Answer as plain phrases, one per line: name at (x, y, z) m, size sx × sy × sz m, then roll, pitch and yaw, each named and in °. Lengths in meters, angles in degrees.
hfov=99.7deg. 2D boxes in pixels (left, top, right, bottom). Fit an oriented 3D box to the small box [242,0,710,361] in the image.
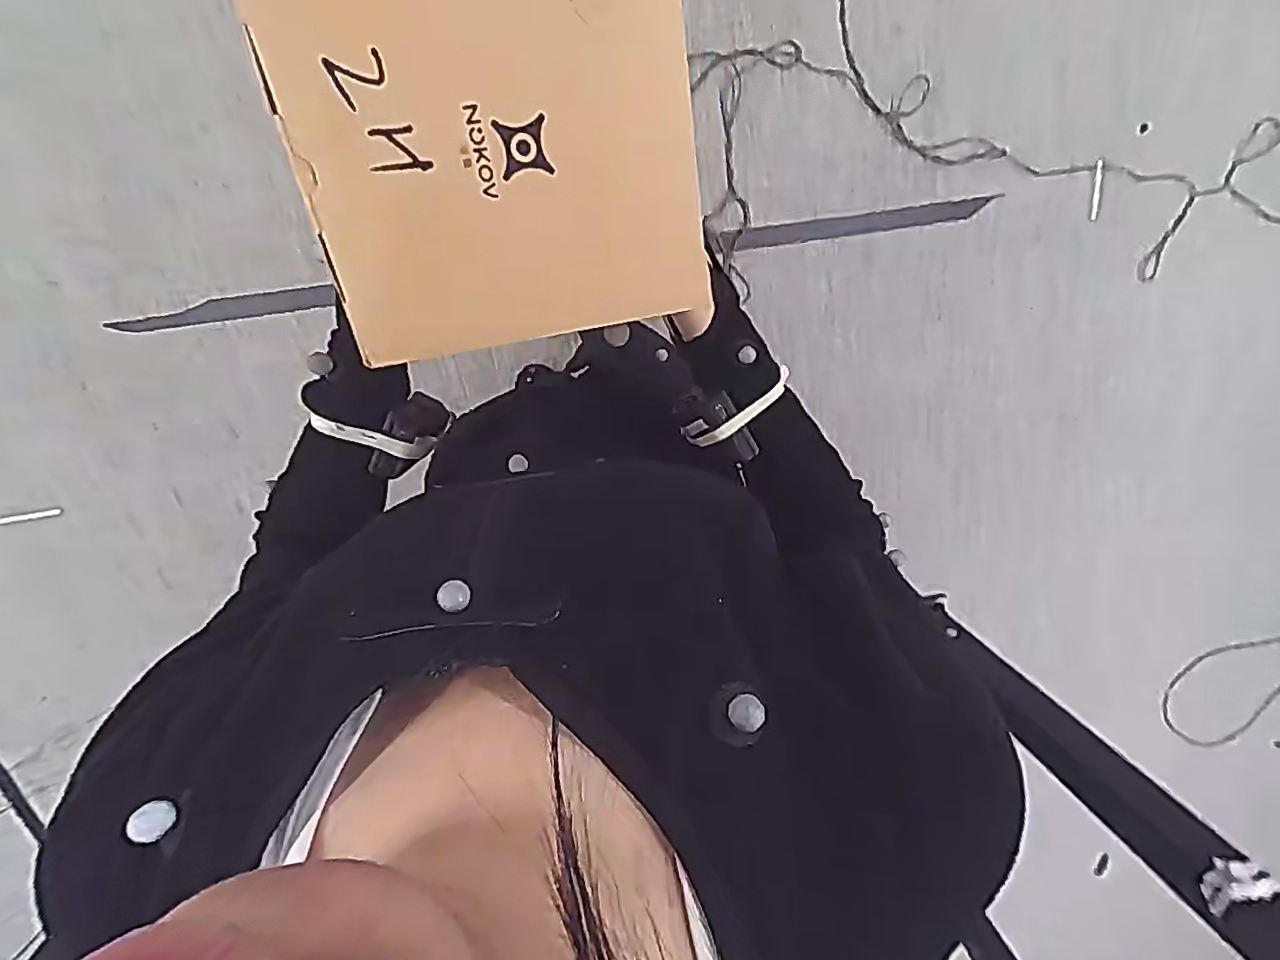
small box at (-0.074, -0.178, 0.309) m, size 0.179 × 0.176 × 0.168 m, roll -12°, pitch 114°, yaw -7°
